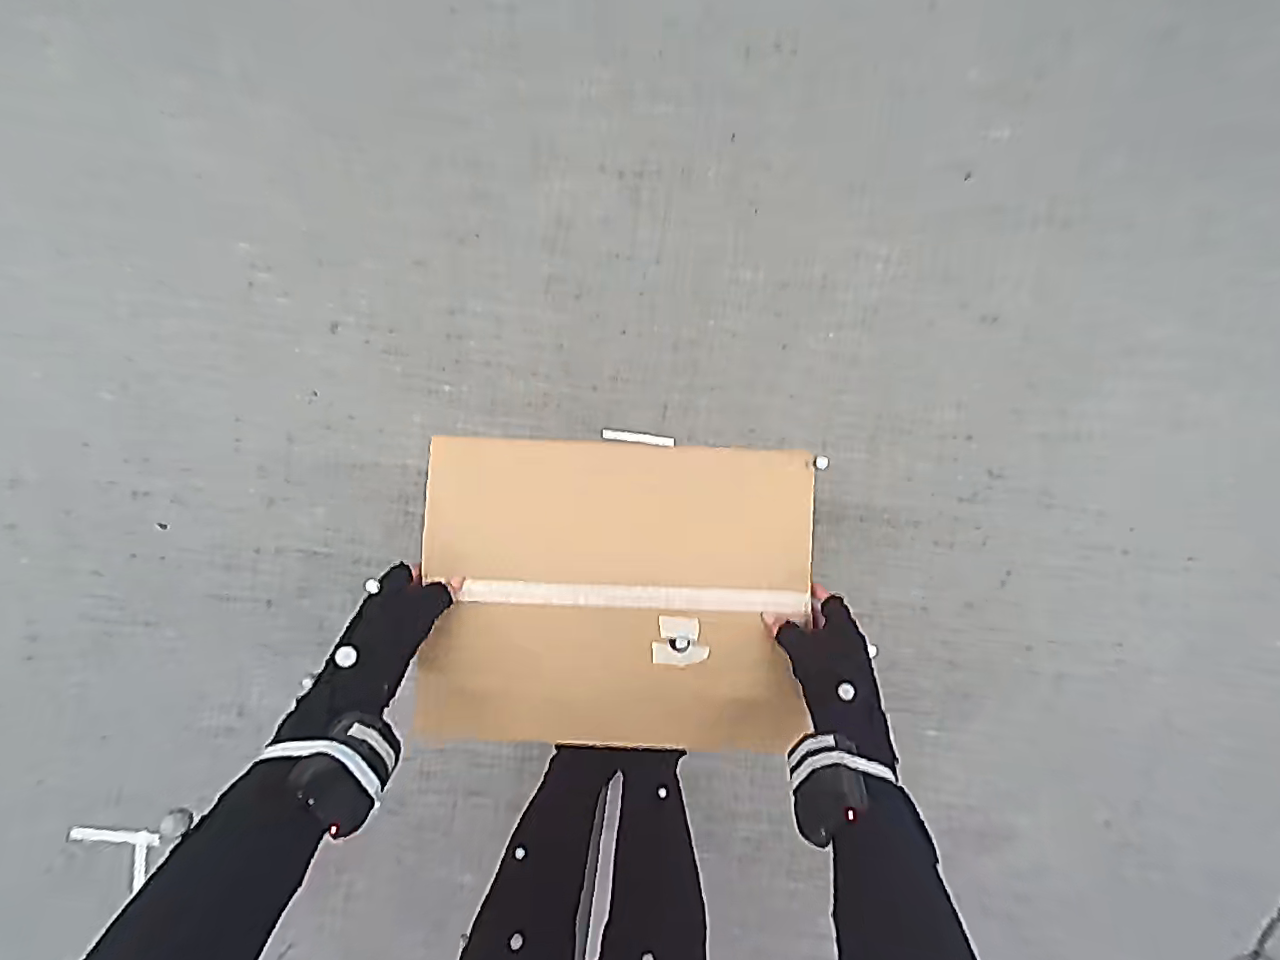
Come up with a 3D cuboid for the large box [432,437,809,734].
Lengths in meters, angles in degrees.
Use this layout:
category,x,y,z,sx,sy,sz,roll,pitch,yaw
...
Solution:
category,x,y,z,sx,sy,sz,roll,pitch,yaw
large box,-0.023,0.120,0.725,0.408,0.320,0.320,2,88,-1
